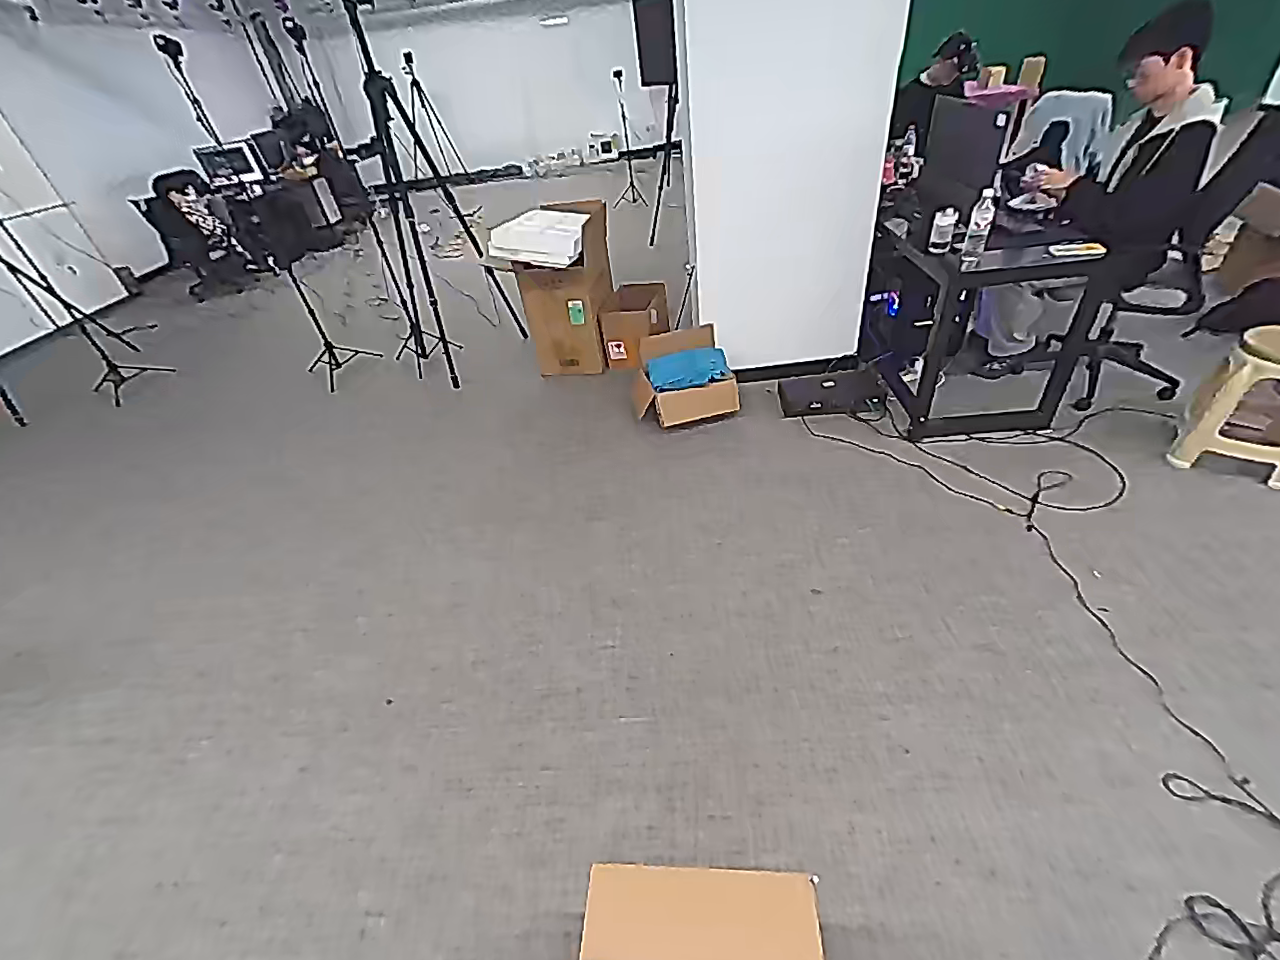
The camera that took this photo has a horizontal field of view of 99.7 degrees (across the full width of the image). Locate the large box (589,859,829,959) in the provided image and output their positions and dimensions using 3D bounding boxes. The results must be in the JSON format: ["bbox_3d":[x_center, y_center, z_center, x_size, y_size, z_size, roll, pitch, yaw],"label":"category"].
[{"bbox_3d":[0.124,0.920,0.972,0.408,0.320,0.320,-2,39,7],"label":"large box"}]
